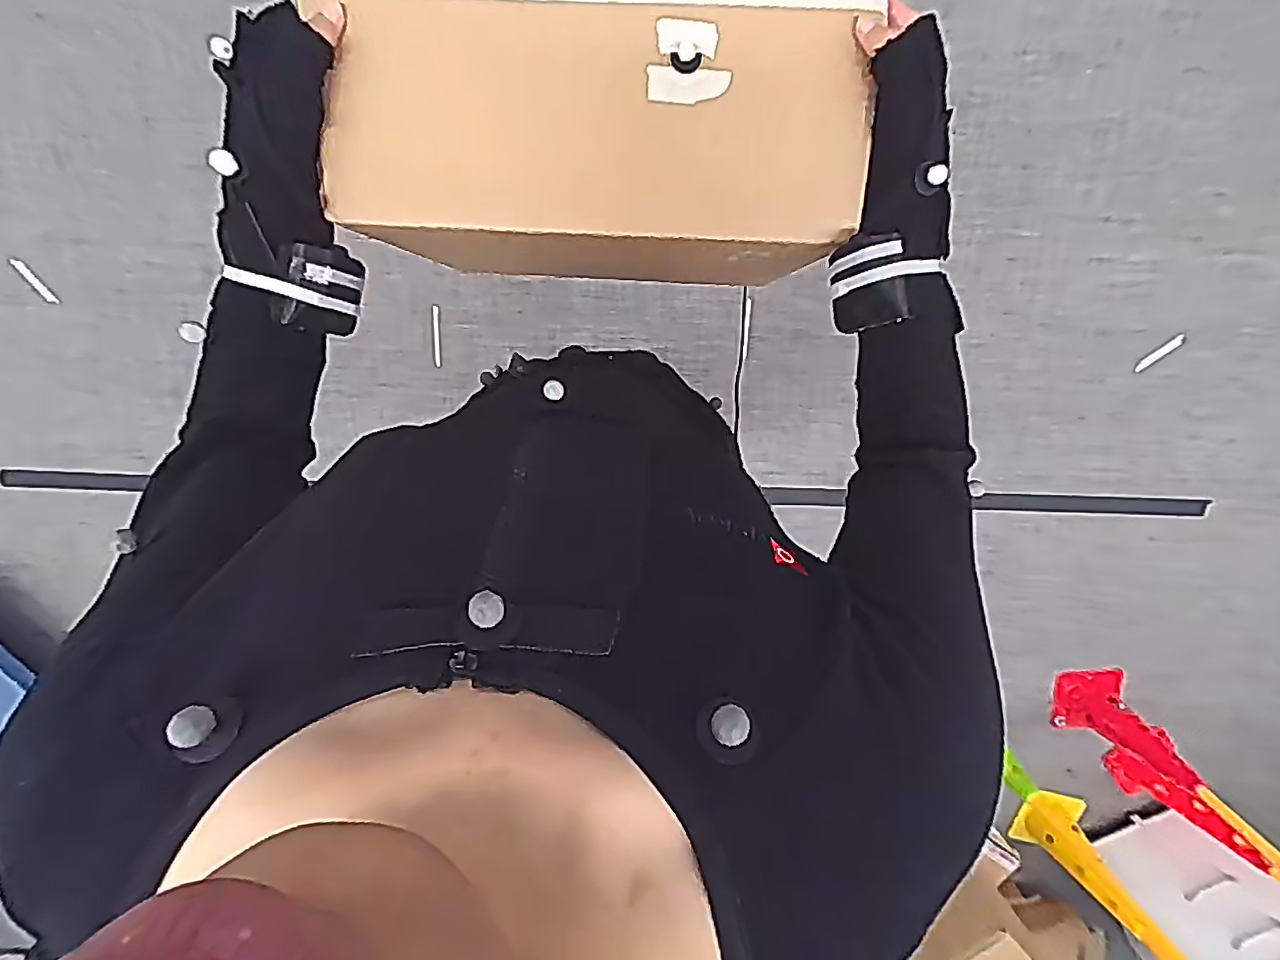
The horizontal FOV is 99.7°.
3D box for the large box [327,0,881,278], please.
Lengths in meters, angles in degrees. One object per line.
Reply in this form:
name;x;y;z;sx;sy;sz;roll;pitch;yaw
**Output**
large box;-0.027;-0.383;0.530;0.408;0.320;0.320;2;104;-1
